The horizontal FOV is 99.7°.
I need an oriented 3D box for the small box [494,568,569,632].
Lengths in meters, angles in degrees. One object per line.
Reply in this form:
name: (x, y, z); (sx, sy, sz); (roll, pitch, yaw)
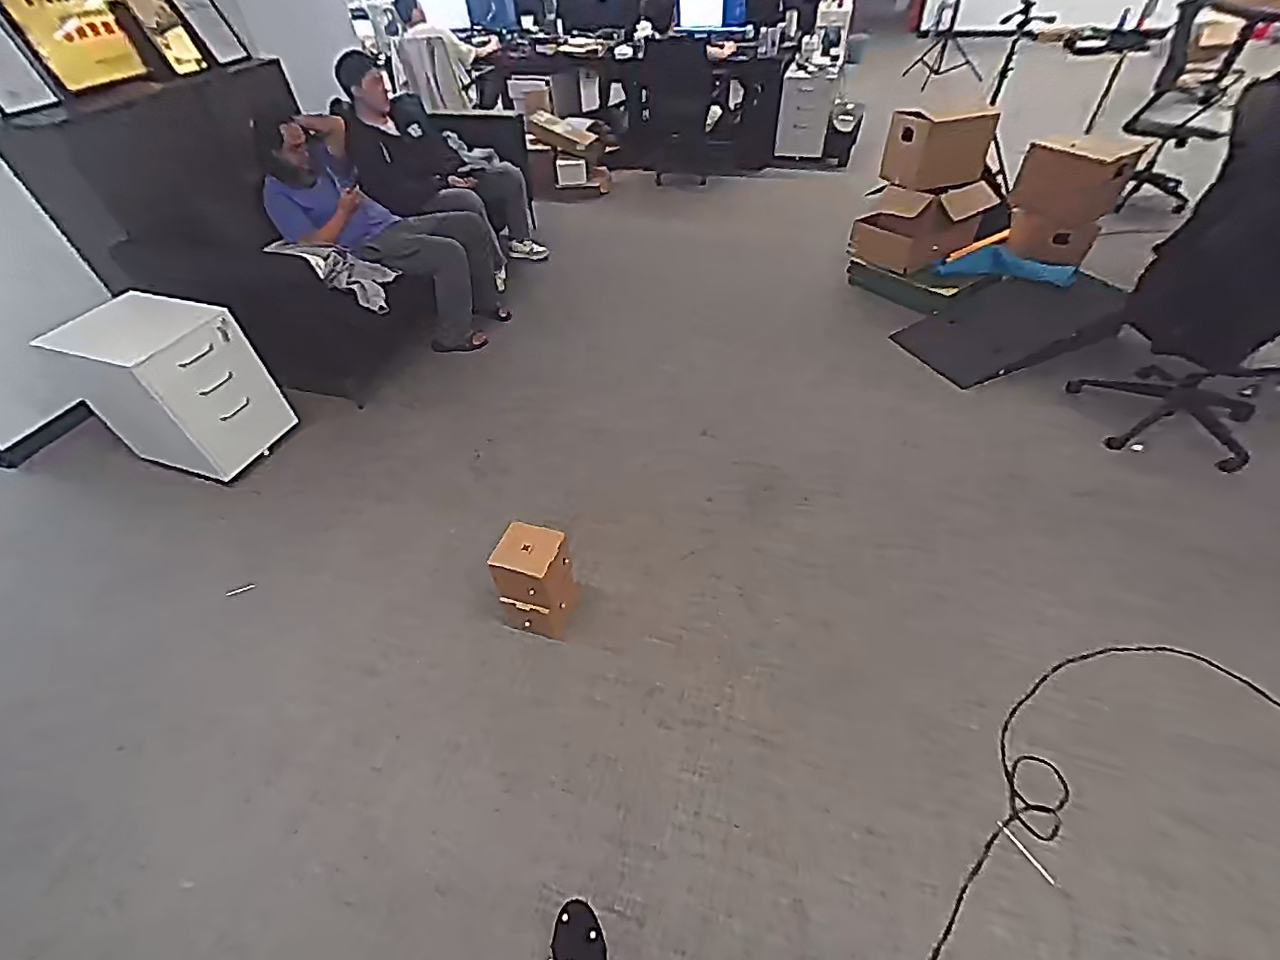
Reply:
small box: (-0.334, 0.357, 1.714); (0.168, 0.176, 0.179); (10, 47, 13)

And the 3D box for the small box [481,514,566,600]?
small box: (-0.331, 0.229, 1.584); (0.179, 0.176, 0.168); (11, 47, 13)
